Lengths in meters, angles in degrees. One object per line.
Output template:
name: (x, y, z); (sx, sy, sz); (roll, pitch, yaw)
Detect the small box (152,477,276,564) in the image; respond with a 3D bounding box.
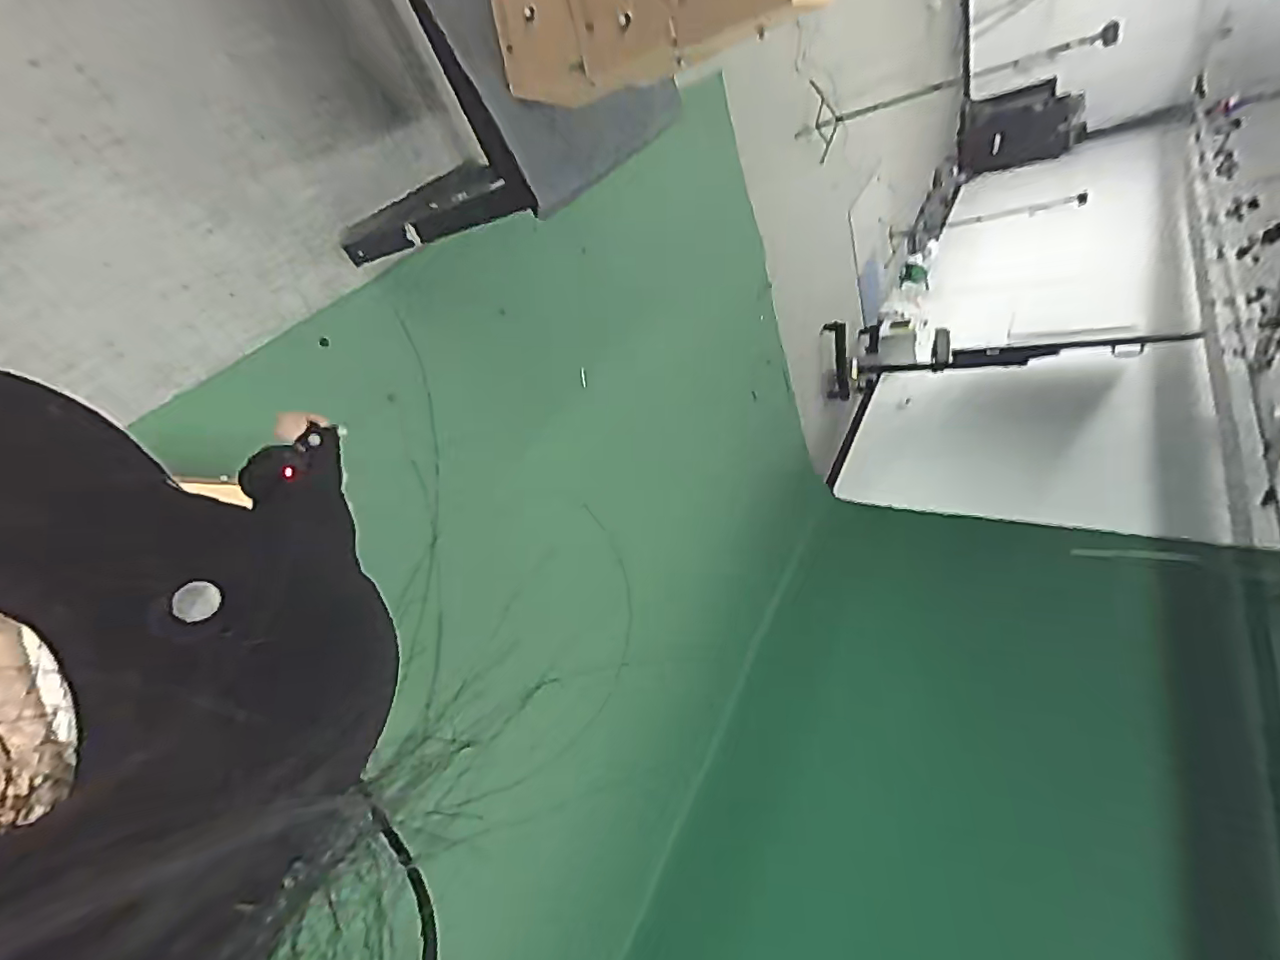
small box: (-0.928, 0.084, 1.176); (0.179, 0.176, 0.168); (5, 91, -53)

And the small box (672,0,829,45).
small box: (0.144, -0.703, 0.709); (0.179, 0.176, 0.168); (-46, 129, -39)

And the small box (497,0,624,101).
small box: (-0.118, -0.758, 0.899); (0.179, 0.176, 0.168); (-35, 122, -47)

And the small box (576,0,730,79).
small box: (0.013, -0.726, 0.807); (0.179, 0.176, 0.168); (-41, 127, -44)
